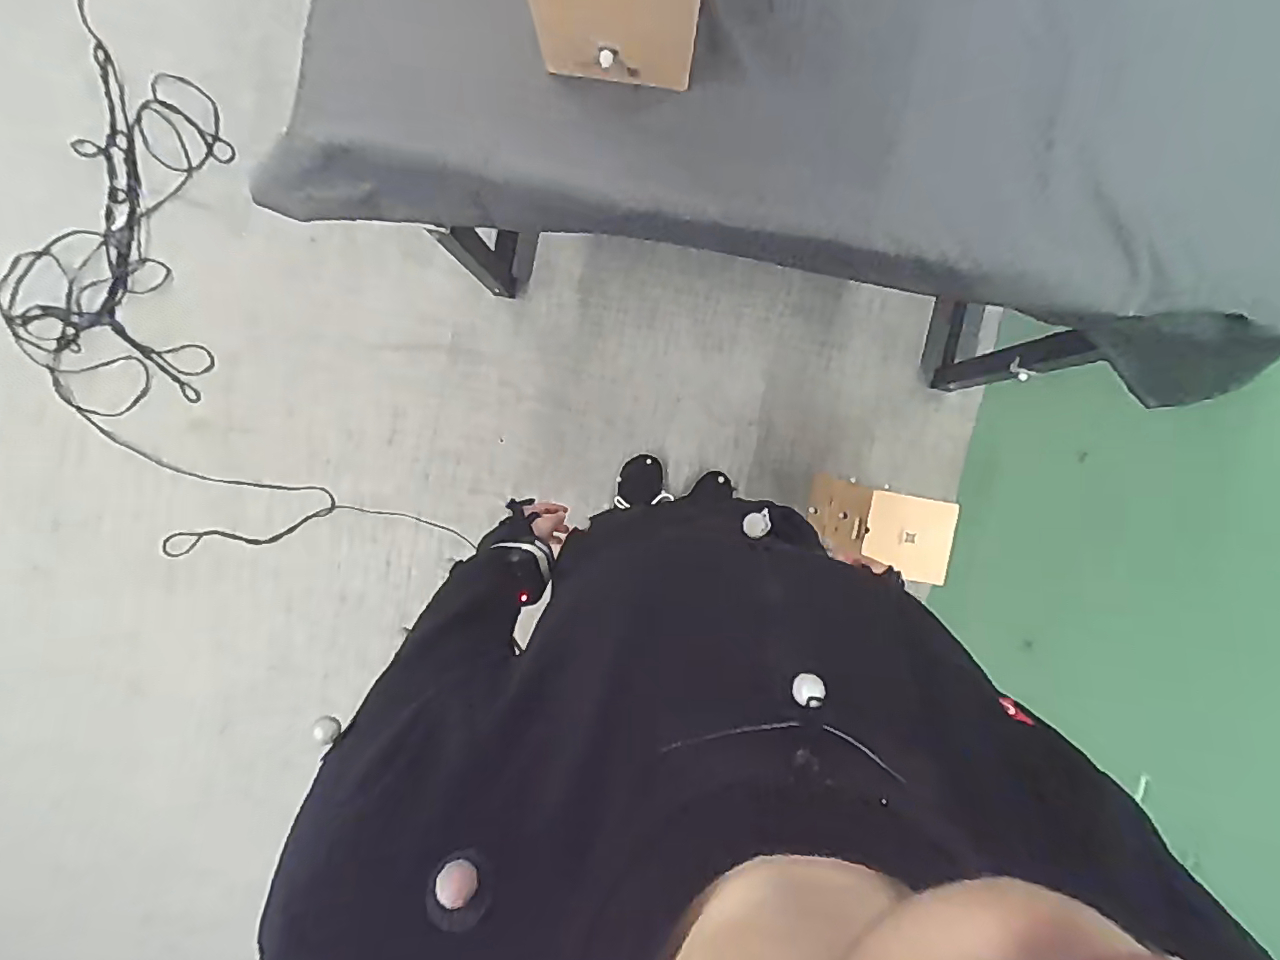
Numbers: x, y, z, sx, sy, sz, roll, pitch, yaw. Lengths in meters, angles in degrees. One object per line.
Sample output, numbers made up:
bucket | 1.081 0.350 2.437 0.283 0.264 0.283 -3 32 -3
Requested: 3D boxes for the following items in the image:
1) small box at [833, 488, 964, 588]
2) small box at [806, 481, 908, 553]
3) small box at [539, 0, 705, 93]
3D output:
small box | 0.527 0.112 1.125 0.179 0.176 0.168 10 93 1
small box | 0.513 0.098 1.289 0.179 0.176 0.168 11 92 1
small box | -0.012 -0.541 0.542 0.168 0.176 0.179 9 93 1
